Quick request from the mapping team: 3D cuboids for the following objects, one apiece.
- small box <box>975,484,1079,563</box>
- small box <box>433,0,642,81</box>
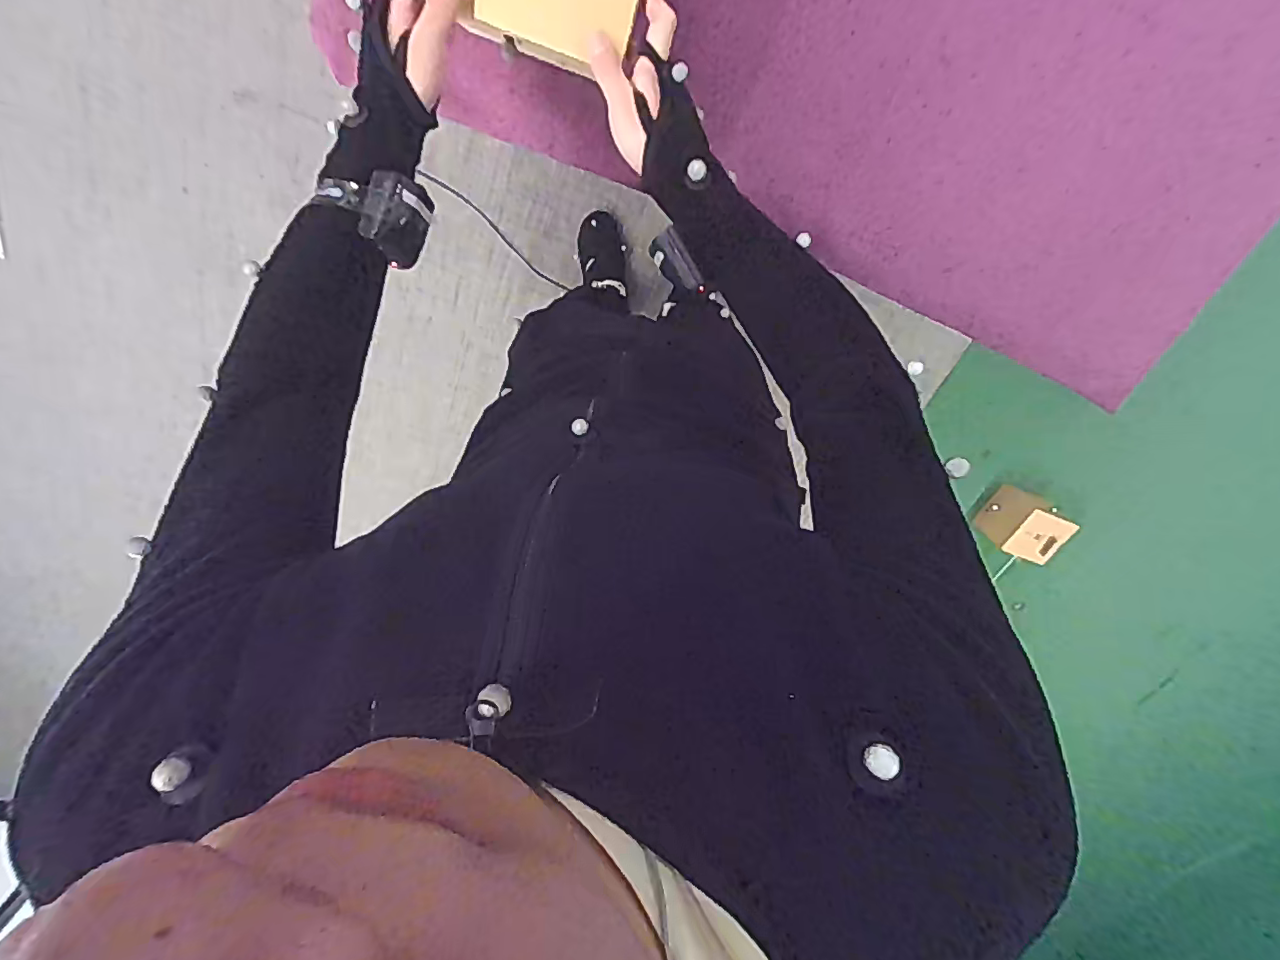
[{"bbox_3d":[1.245,0.137,1.753,0.179,0.176,0.168,19,117,-10],"label":"small box"},{"bbox_3d":[-0.071,-0.478,0.467,0.168,0.176,0.179,14,120,-11],"label":"small box"}]
